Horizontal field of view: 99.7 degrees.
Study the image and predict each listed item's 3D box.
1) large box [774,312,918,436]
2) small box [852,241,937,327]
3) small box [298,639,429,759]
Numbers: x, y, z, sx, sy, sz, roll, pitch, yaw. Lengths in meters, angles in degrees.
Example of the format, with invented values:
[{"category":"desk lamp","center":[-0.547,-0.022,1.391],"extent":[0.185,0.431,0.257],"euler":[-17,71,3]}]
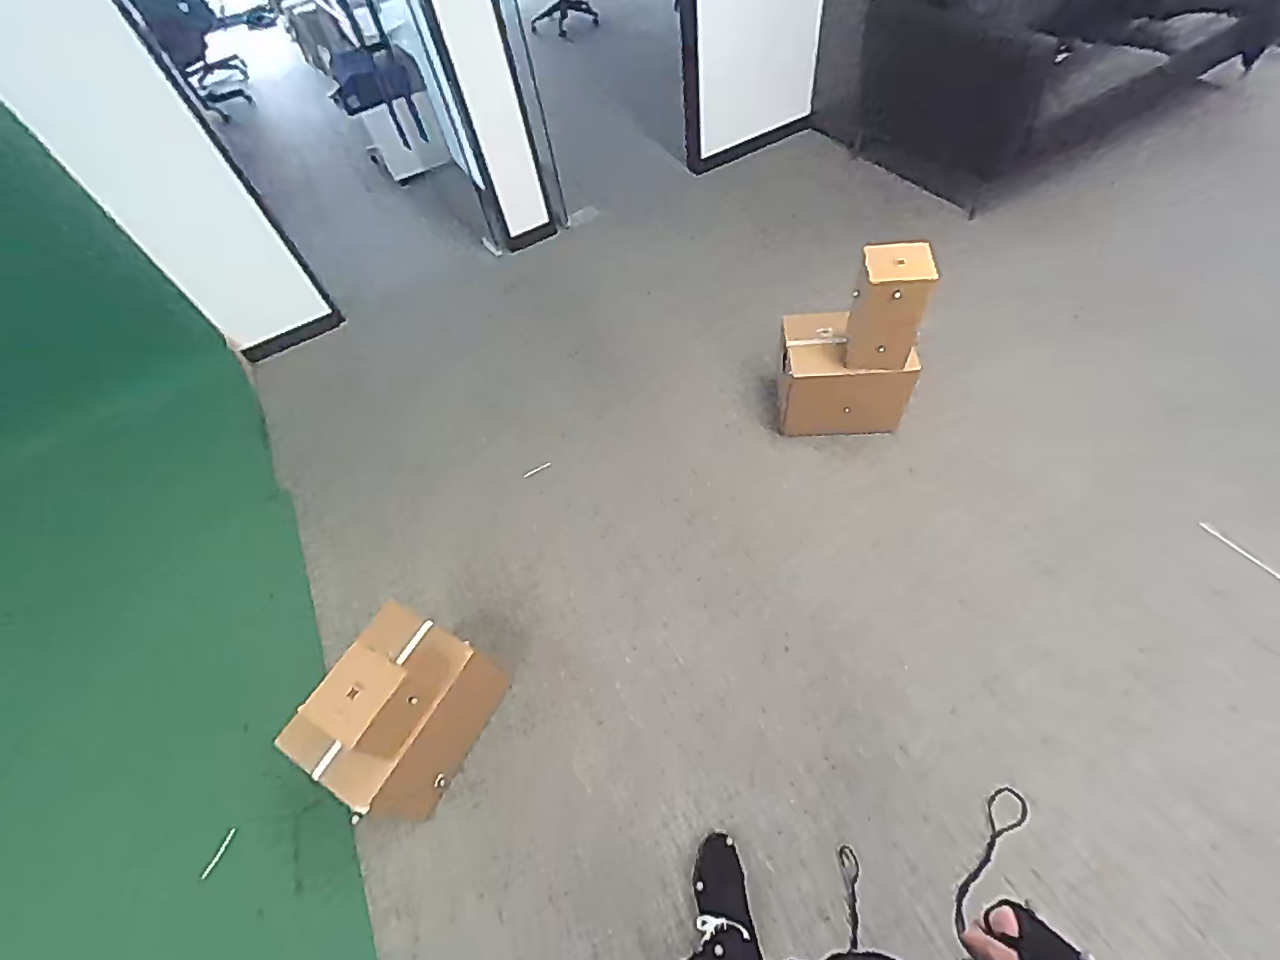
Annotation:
[{"category":"large box","center":[0.708,-0.377,1.933],"extent":[0.408,0.320,0.320],"euler":[-3,54,7]},{"category":"small box","center":[0.725,-0.560,1.558],"extent":[0.179,0.176,0.168],"euler":[0,57,10]},{"category":"small box","center":[-0.602,0.493,1.211],"extent":[0.168,0.176,0.179],"euler":[22,62,21]}]
